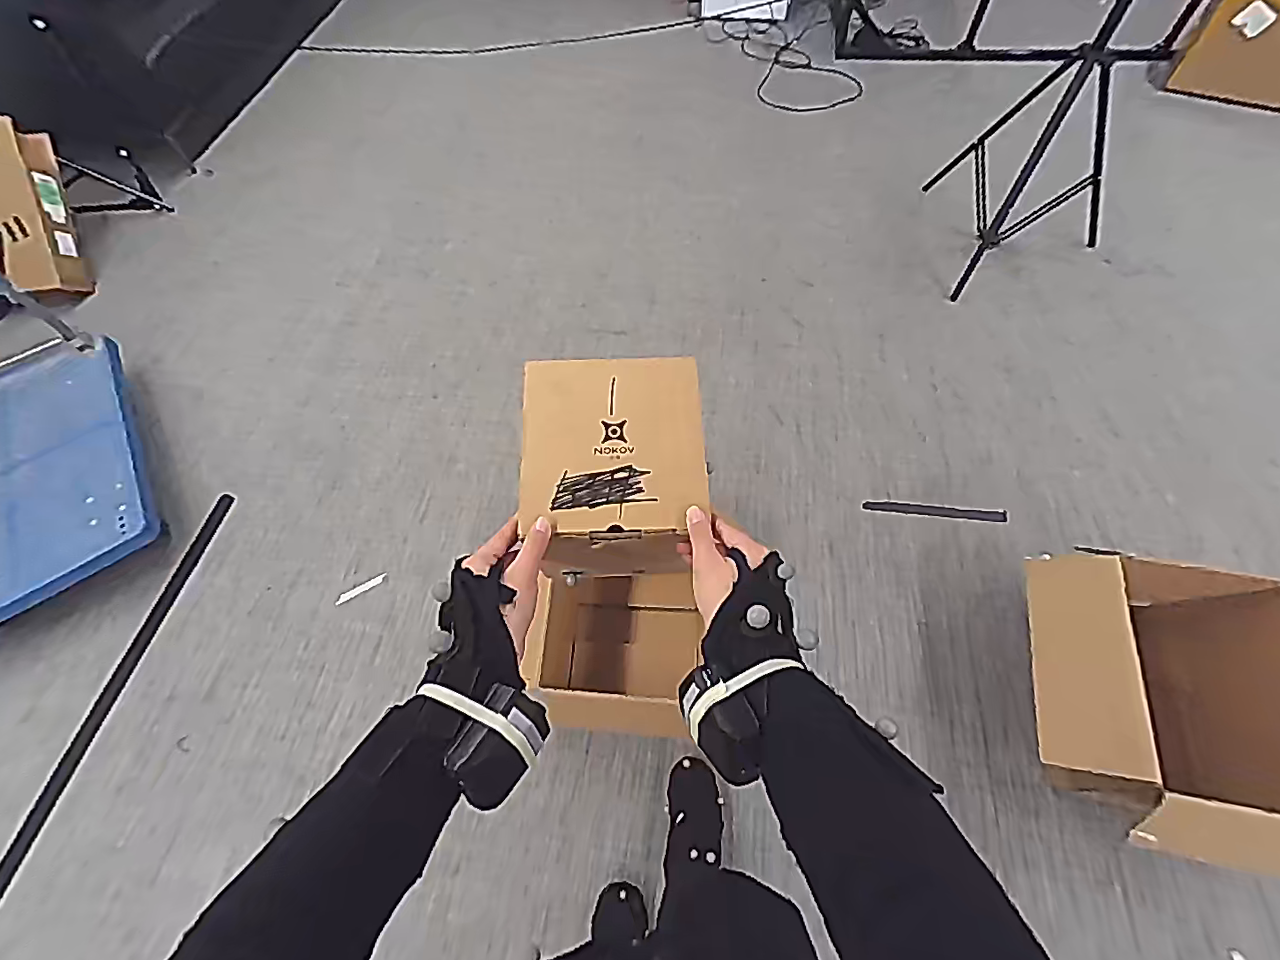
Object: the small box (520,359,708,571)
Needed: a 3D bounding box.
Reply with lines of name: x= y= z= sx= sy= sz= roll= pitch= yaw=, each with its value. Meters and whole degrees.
small box: x=-0.025 y=-0.005 z=0.566 sx=0.168 sy=0.176 sz=0.179 roll=-2 pitch=67 yaw=-2
